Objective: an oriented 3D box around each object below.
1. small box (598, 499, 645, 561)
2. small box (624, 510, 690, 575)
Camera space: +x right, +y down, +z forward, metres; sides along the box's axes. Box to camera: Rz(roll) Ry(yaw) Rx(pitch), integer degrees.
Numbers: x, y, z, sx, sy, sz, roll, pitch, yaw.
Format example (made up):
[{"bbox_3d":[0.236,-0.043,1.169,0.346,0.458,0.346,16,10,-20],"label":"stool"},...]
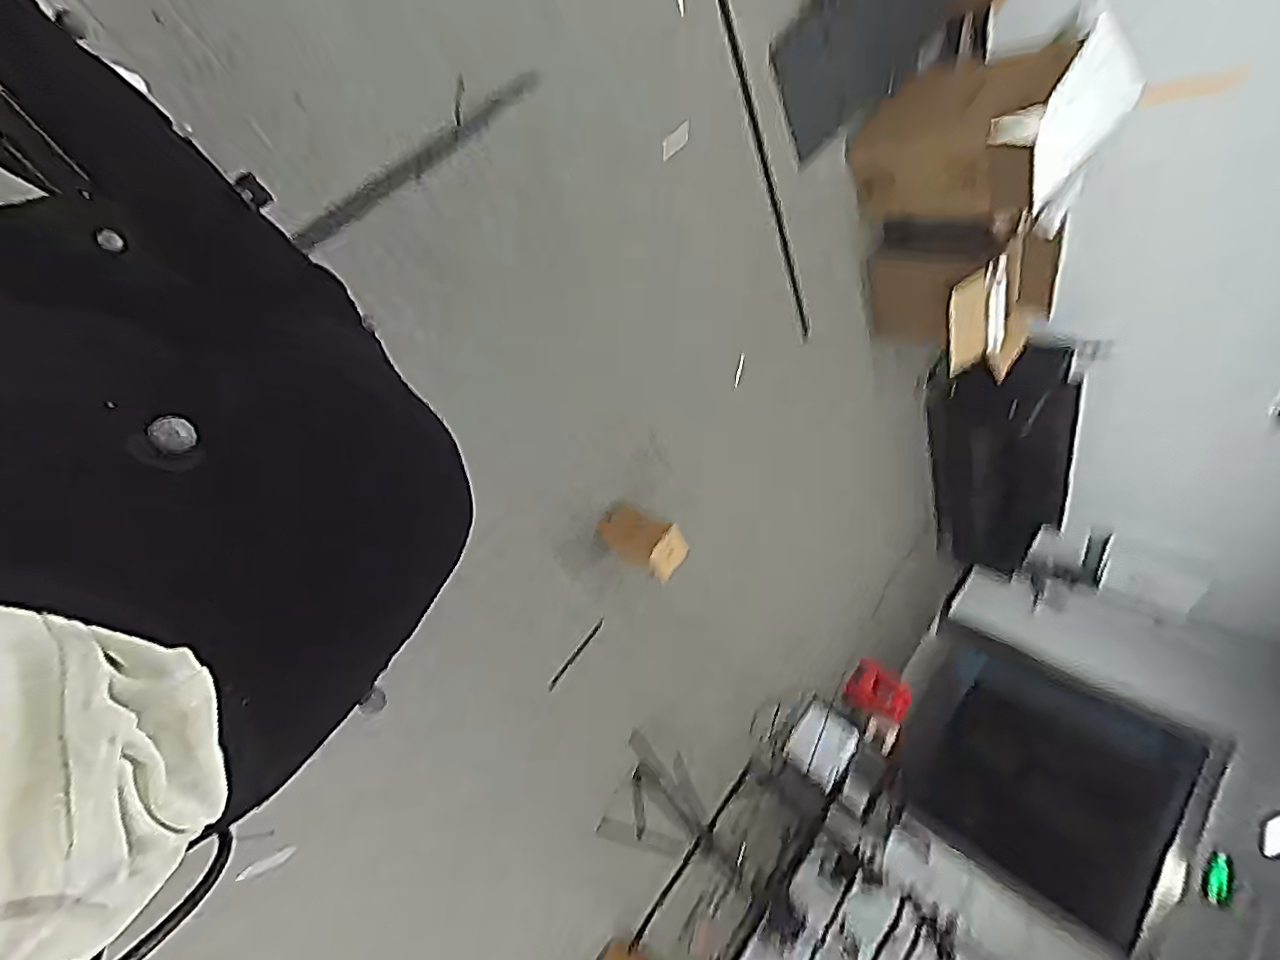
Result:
[{"bbox_3d":[-0.045,0.208,2.305,0.168,0.176,0.179,-48,134,-19],"label":"small box"},{"bbox_3d":[0.068,0.248,2.192,0.168,0.176,0.179,-49,134,-19],"label":"small box"}]
